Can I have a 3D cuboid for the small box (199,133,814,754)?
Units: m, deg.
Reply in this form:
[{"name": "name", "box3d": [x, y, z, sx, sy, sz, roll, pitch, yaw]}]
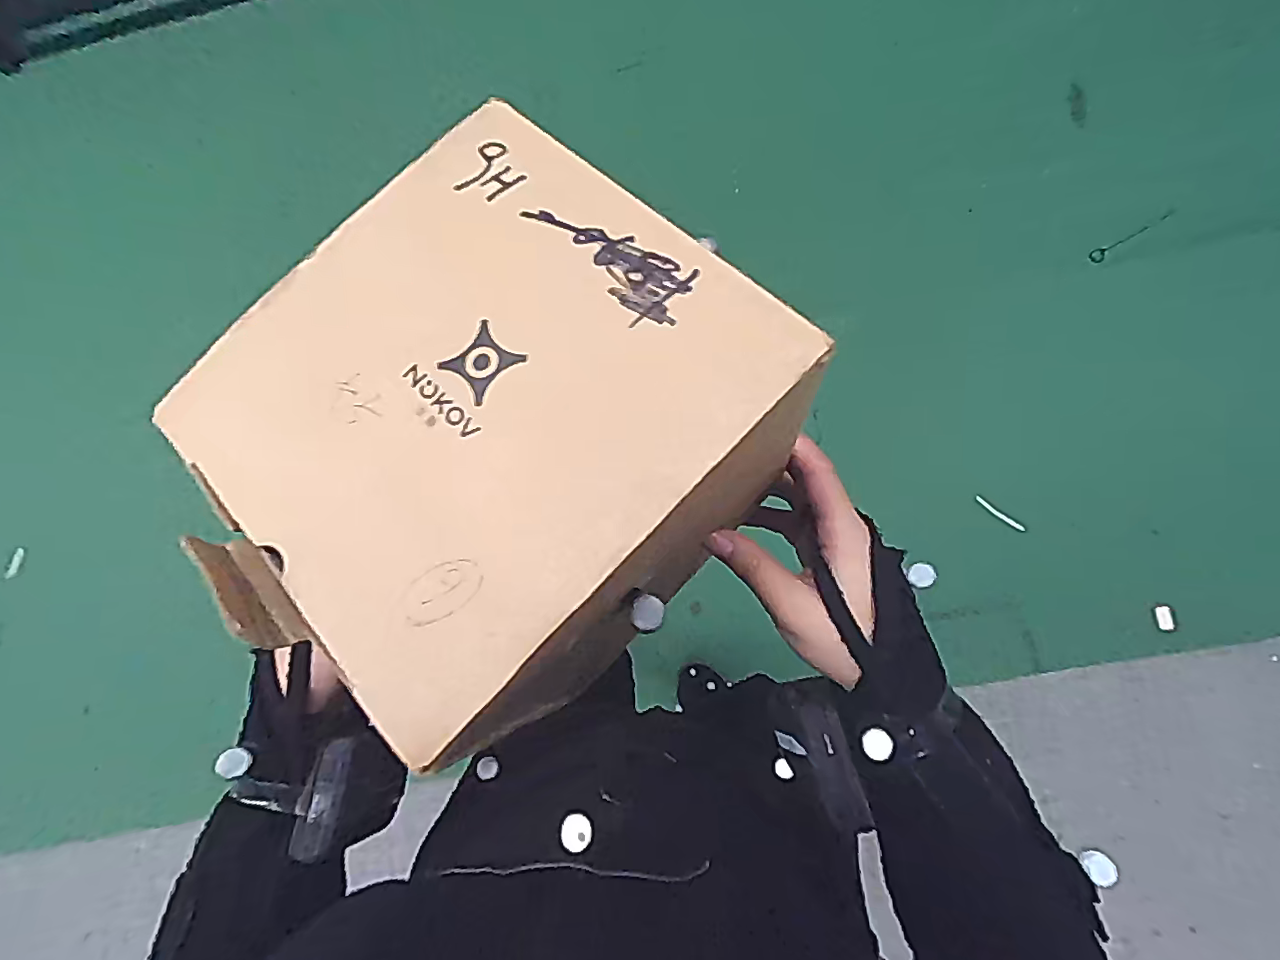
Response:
[{"name": "small box", "box3d": [-0.043, -0.008, 0.268, 0.168, 0.176, 0.179, 43, 85, 16]}]
